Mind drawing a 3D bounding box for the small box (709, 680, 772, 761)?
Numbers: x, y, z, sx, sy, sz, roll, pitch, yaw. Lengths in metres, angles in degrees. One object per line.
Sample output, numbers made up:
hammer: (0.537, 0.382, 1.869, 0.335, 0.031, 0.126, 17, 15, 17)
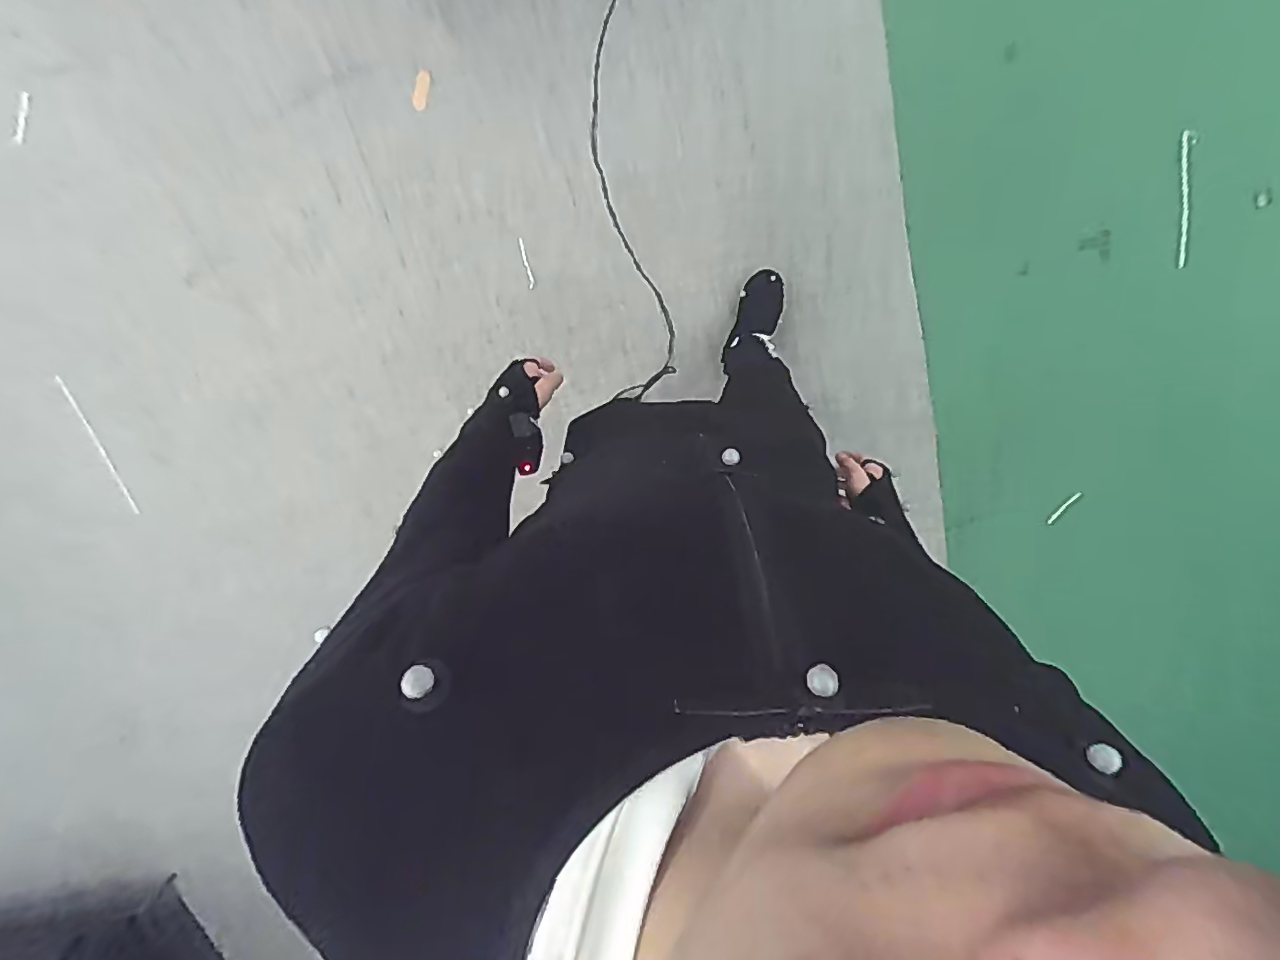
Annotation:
small box: (0.322, 0.781, 1.767, 0.179, 0.176, 0.168, -11, 107, 7)
